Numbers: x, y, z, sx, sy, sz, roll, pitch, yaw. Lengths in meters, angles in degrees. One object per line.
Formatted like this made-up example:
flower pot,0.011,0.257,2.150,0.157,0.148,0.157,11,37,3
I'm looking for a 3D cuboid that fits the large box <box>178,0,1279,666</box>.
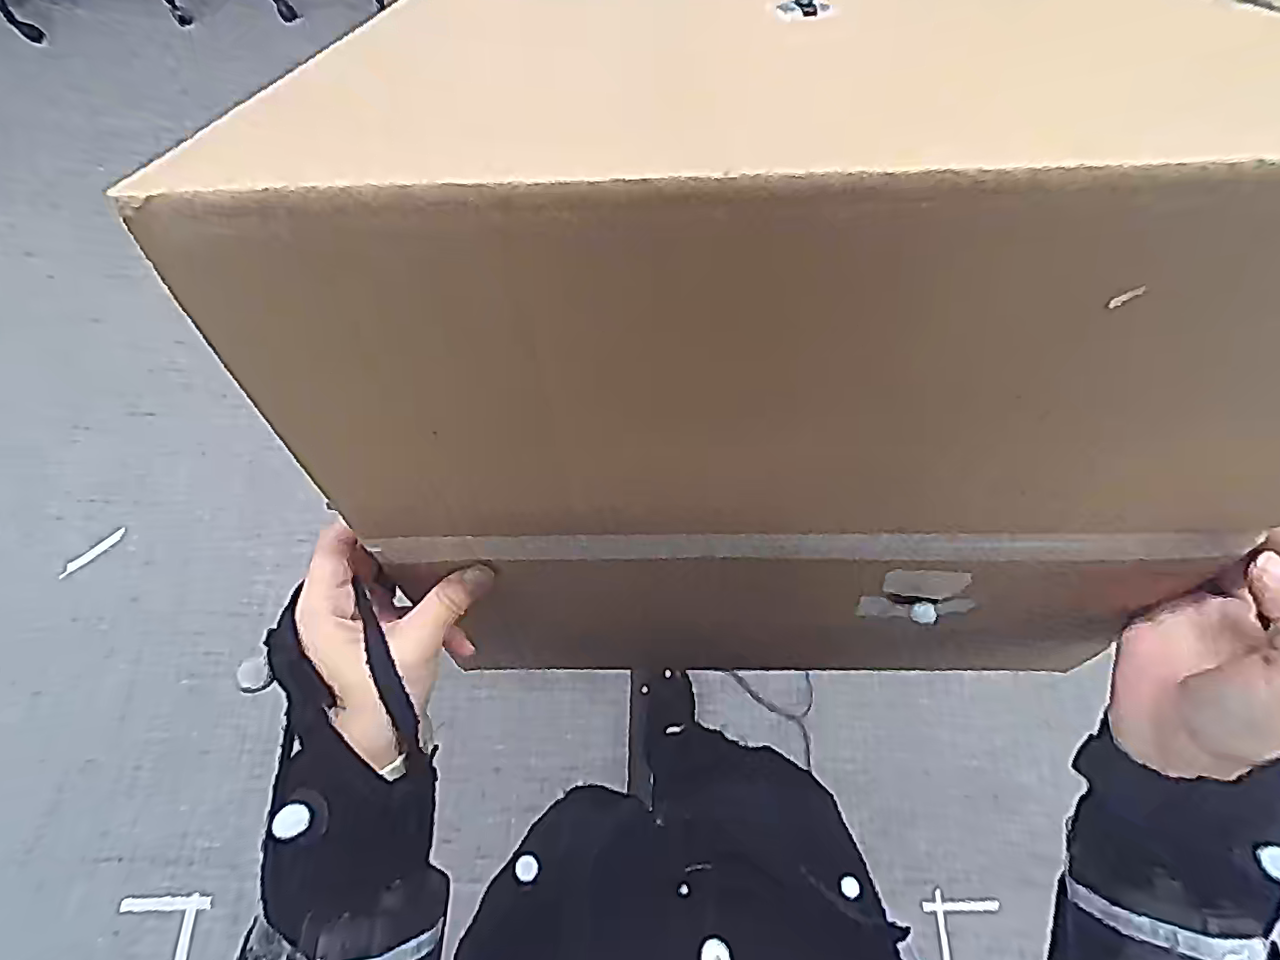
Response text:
large box,0.069,-0.089,0.353,0.408,0.320,0.320,-2,51,2
